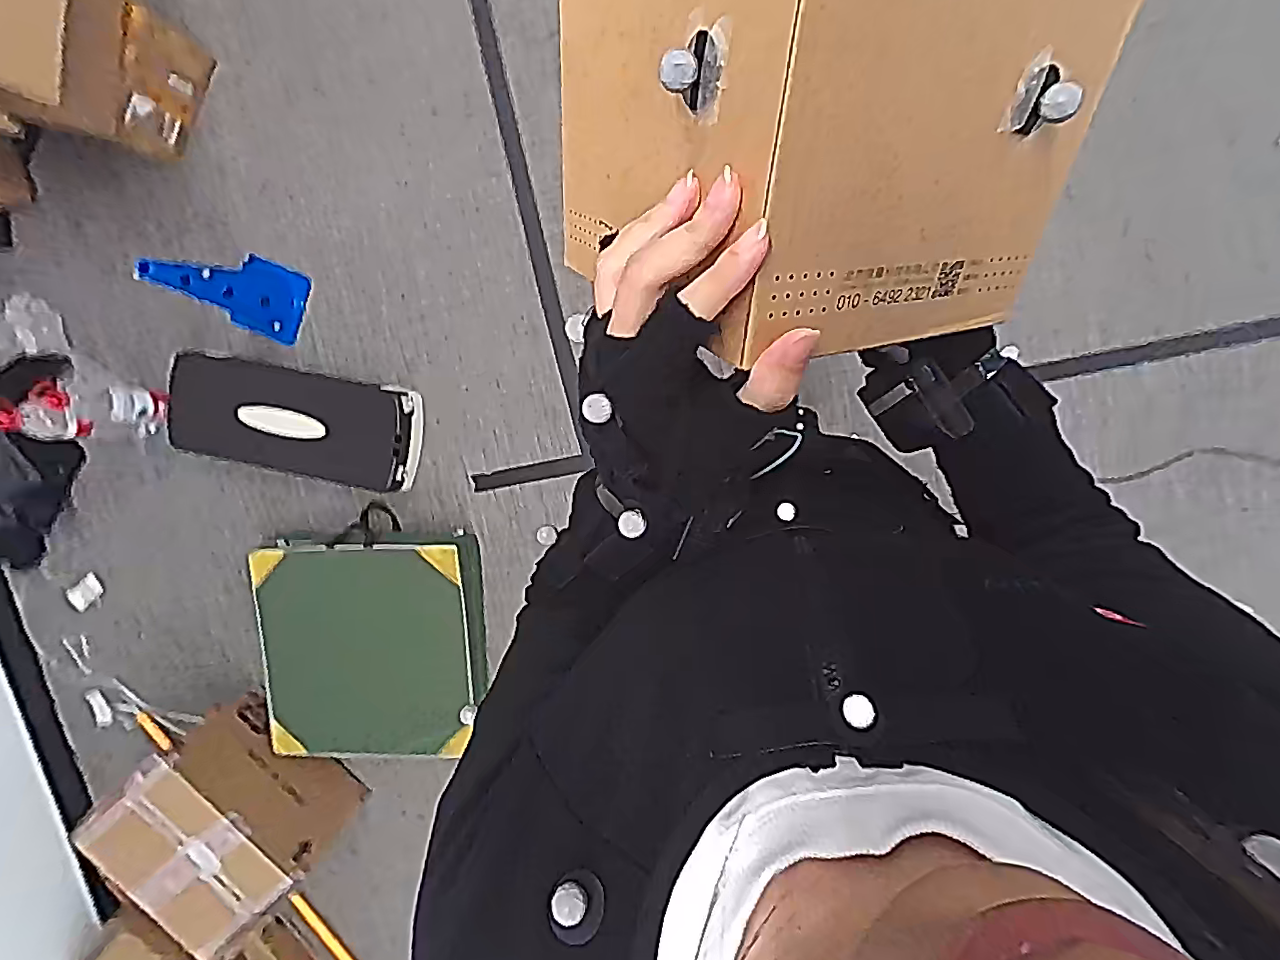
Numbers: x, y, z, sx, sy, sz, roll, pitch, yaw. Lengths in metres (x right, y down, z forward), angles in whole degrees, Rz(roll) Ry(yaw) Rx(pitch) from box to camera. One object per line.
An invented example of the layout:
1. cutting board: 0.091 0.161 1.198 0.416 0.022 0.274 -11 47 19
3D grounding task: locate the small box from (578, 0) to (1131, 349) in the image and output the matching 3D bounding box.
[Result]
1. small box: 0.079 -0.166 0.254 0.168 0.179 0.176 -13 128 -25
